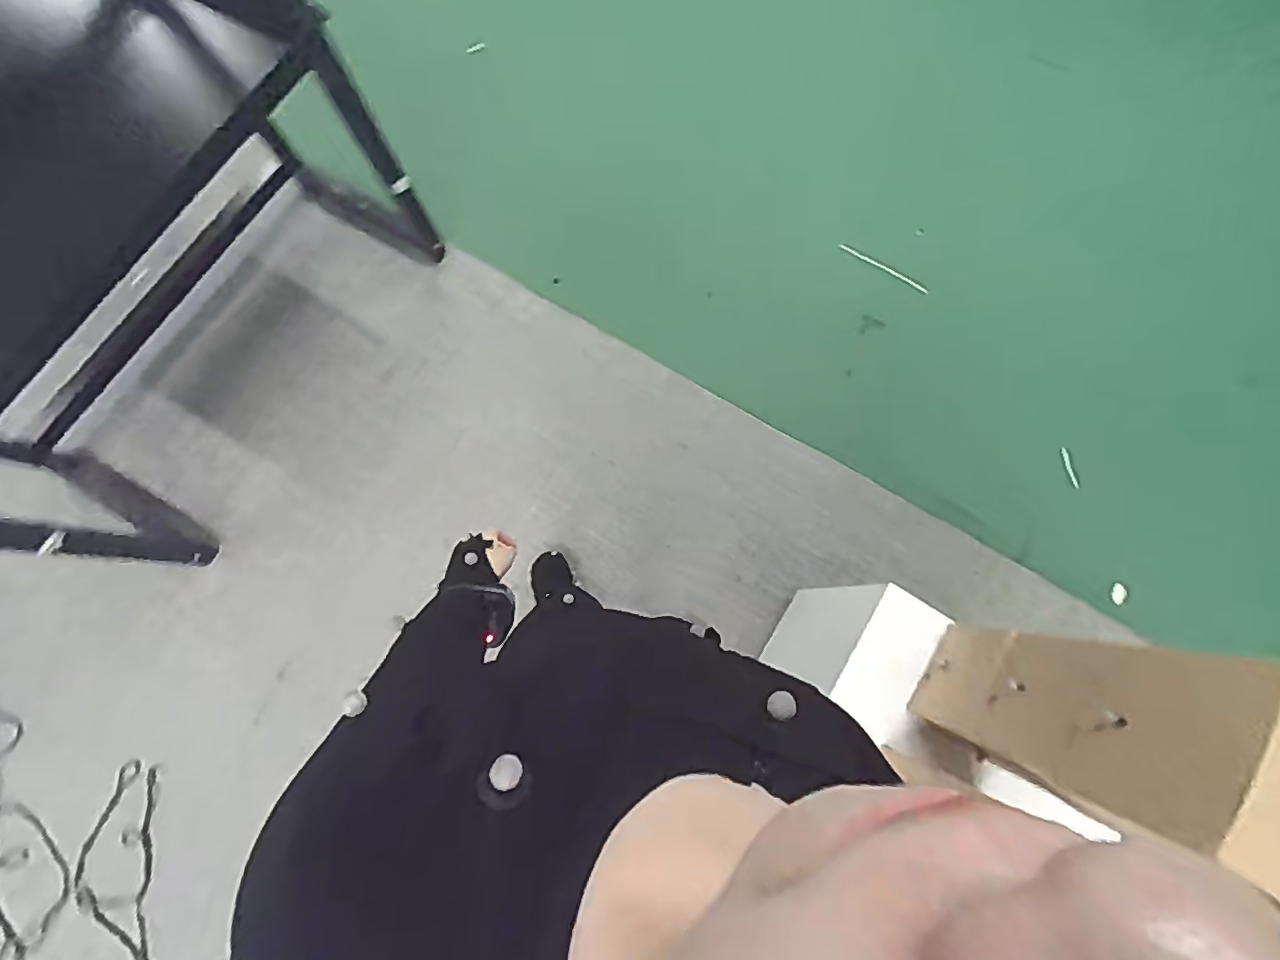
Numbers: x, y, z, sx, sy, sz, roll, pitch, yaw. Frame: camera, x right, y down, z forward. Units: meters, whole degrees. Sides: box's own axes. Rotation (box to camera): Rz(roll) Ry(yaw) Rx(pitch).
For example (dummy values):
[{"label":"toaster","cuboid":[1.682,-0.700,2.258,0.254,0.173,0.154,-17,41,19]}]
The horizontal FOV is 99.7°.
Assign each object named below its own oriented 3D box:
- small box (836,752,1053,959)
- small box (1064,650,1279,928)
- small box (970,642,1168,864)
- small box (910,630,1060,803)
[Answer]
[{"label":"small box","cuboid":[0.418,0.524,0.772,0.179,0.176,0.168,35,79,7]},{"label":"small box","cuboid":[0.542,0.279,0.489,0.168,0.176,0.179,35,81,7]},{"label":"small box","cuboid":[0.553,0.312,0.650,0.179,0.176,0.168,34,81,7]},{"label":"small box","cuboid":[0.553,0.340,0.811,0.179,0.176,0.168,33,80,8]}]
